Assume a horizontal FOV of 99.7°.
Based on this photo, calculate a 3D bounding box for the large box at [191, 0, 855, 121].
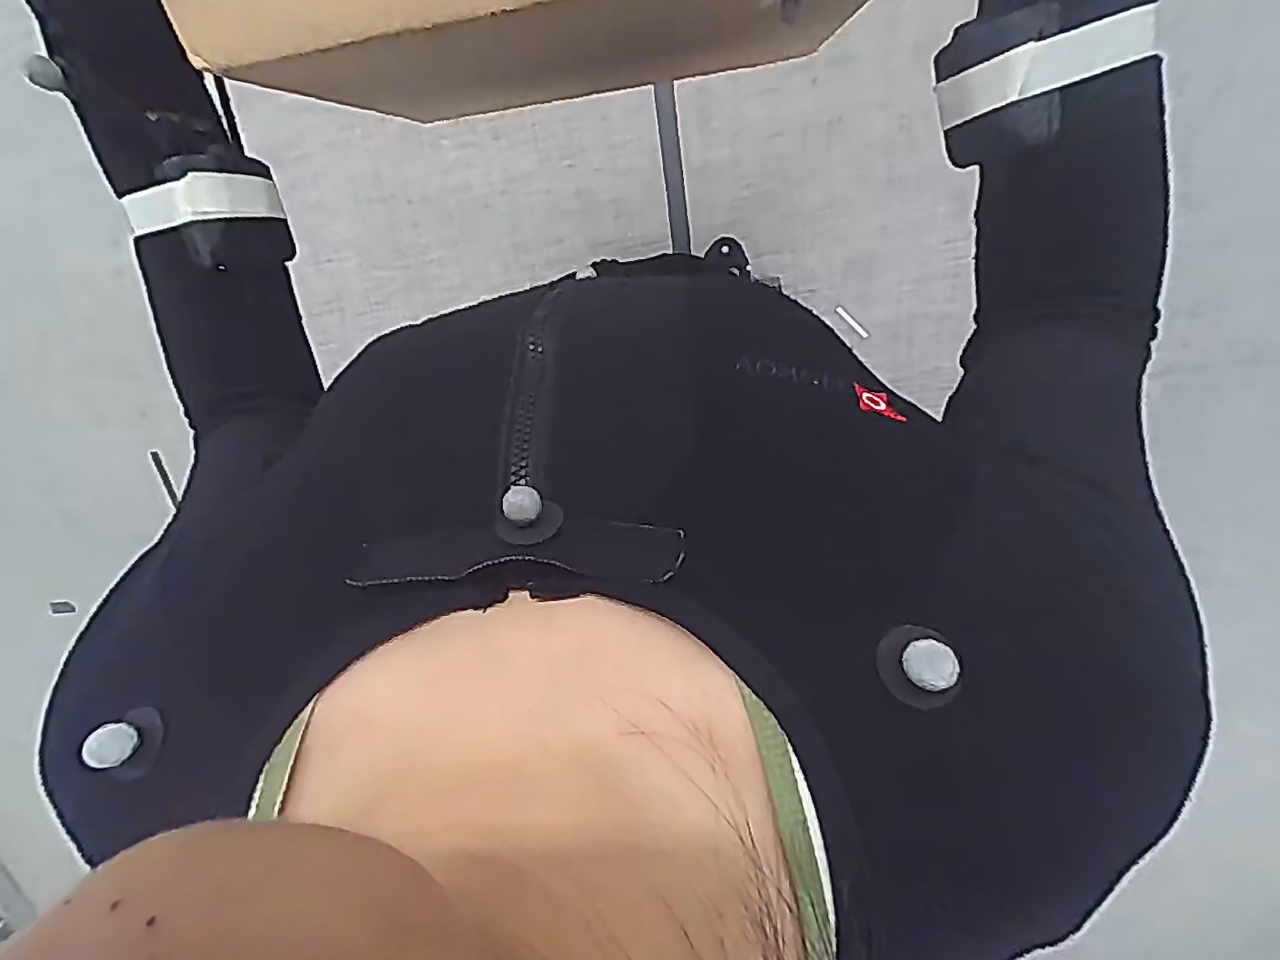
[{"bbox_3d":[-0.058,-0.455,0.346,0.408,0.320,0.320,-6,118,6],"label":"large box"}]
